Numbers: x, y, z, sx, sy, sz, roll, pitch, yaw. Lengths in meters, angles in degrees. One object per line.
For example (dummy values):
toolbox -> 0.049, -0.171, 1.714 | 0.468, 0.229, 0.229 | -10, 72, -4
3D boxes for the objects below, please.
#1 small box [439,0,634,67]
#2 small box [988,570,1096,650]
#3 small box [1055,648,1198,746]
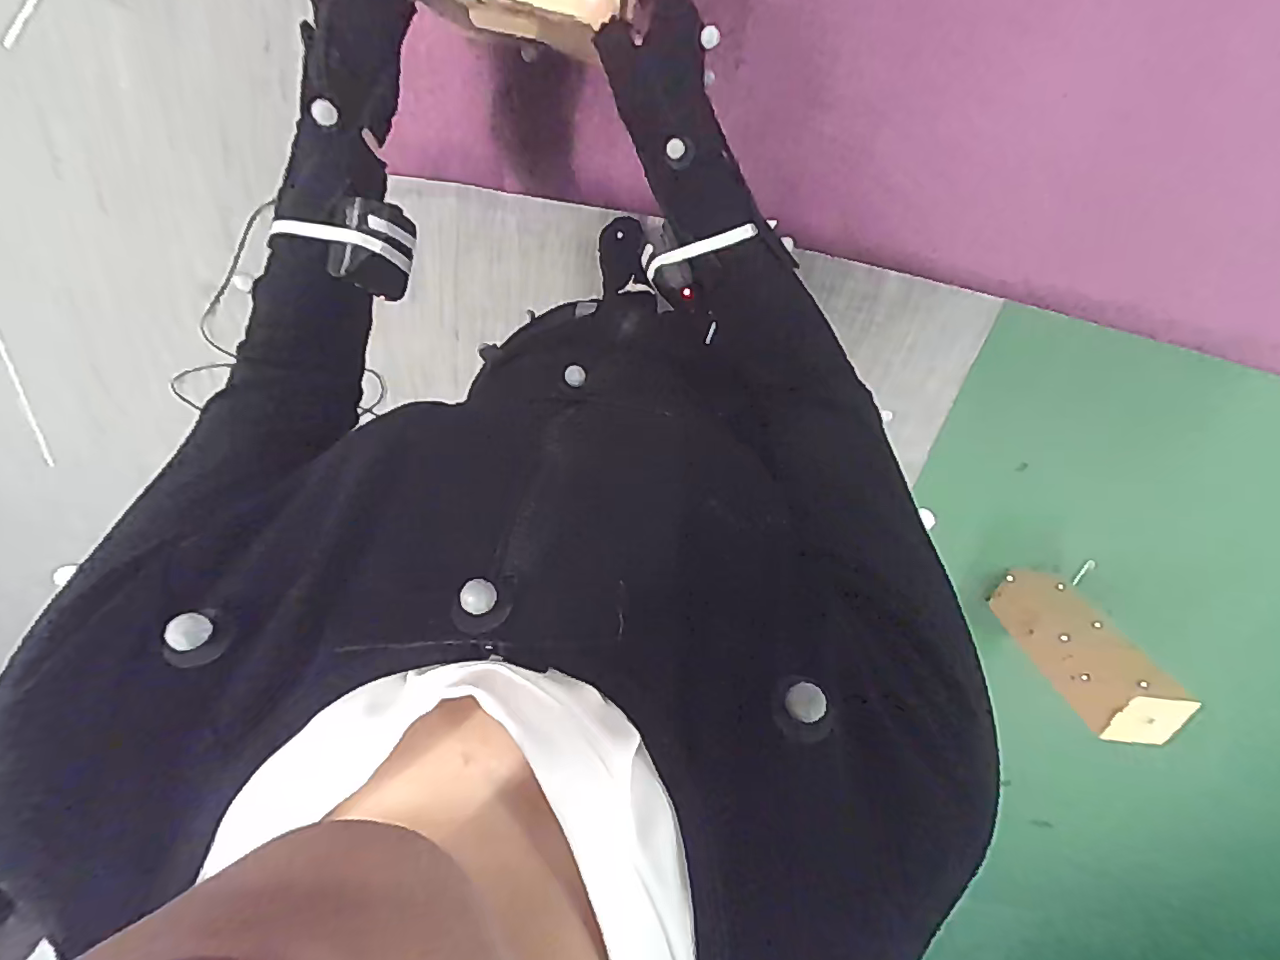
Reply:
small box -> -0.080, -0.457, 0.418 | 0.168, 0.176, 0.179 | 10, 119, -4
small box -> 1.244, 0.402, 1.691 | 0.179, 0.176, 0.168 | 10, 119, -5
small box -> 1.247, 0.557, 1.402 | 0.179, 0.176, 0.168 | 7, 119, -3
